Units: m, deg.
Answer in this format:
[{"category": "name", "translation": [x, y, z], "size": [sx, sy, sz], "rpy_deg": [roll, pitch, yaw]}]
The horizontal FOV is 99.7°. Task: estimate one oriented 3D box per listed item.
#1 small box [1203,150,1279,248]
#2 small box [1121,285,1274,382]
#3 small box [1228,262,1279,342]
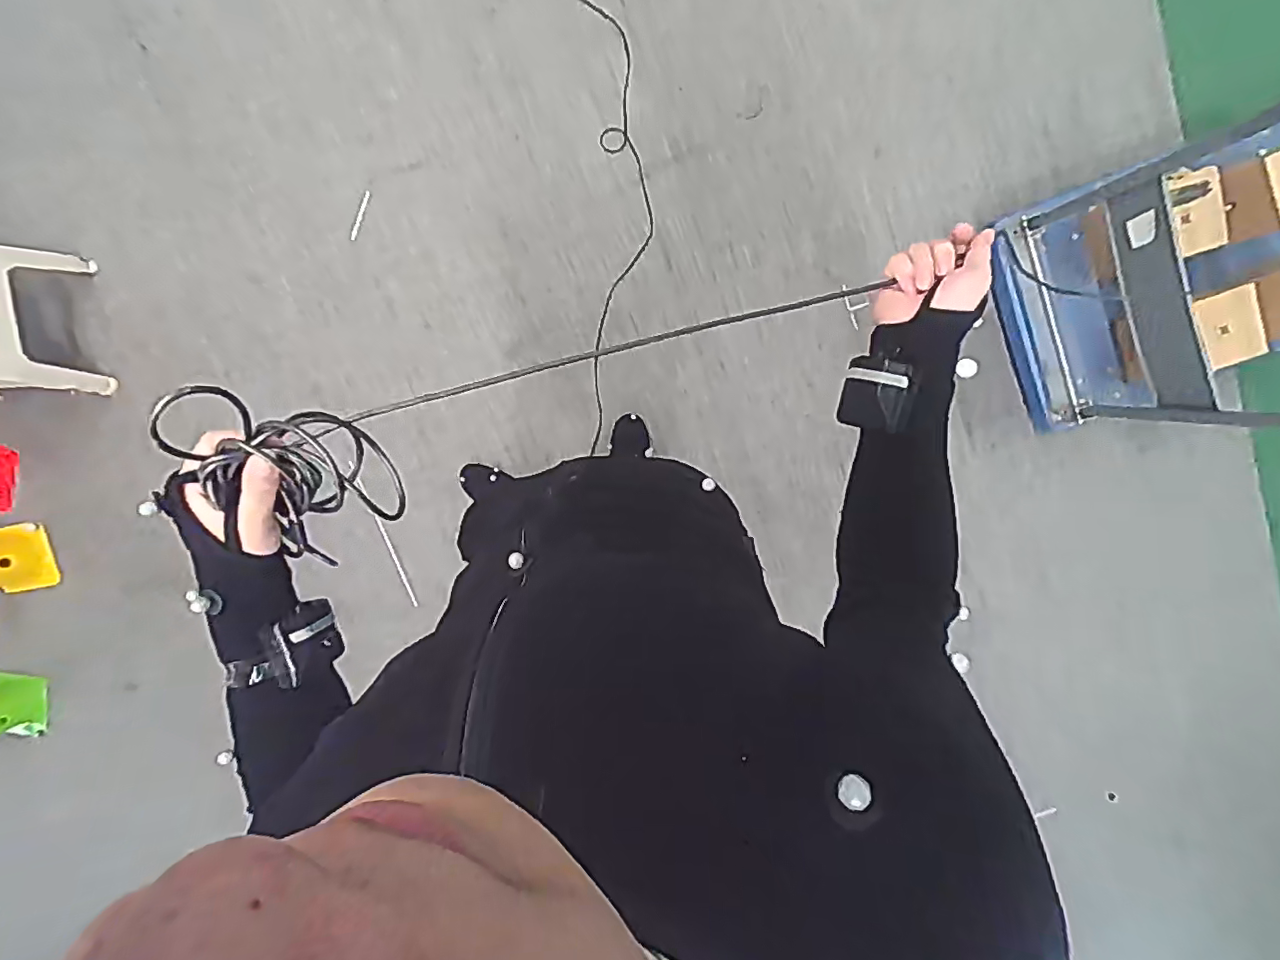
[{"category": "small box", "translation": [1.458, -0.662, 1.237], "size": [0.179, 0.176, 0.168], "rpy_deg": [-24, 97, 4]}, {"category": "small box", "translation": [1.313, -0.340, 1.283], "size": [0.179, 0.176, 0.168], "rpy_deg": [-20, 97, 4]}, {"category": "small box", "translation": [1.565, -0.436, 1.266], "size": [0.179, 0.176, 0.168], "rpy_deg": [-24, 96, 5]}]
